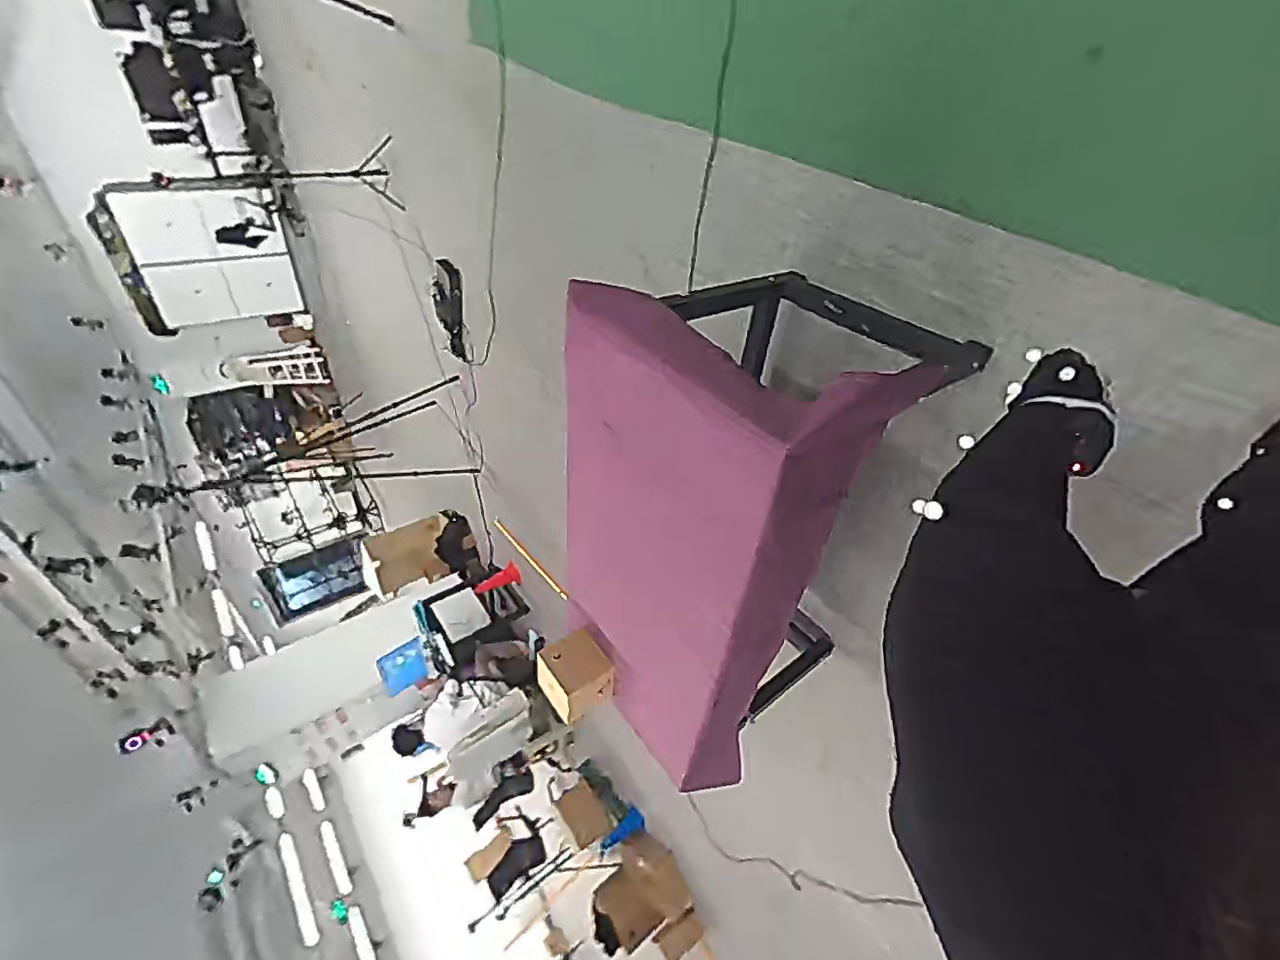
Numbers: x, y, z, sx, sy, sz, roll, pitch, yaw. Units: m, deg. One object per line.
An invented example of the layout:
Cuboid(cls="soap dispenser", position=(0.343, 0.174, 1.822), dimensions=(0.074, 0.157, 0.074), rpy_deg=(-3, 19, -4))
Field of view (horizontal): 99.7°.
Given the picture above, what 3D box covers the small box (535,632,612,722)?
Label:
Cuboid(cls="small box", position=(-0.206, 0.592, 1.659), dimensions=(0.179, 0.176, 0.168), rpy_deg=(42, 140, 35))
